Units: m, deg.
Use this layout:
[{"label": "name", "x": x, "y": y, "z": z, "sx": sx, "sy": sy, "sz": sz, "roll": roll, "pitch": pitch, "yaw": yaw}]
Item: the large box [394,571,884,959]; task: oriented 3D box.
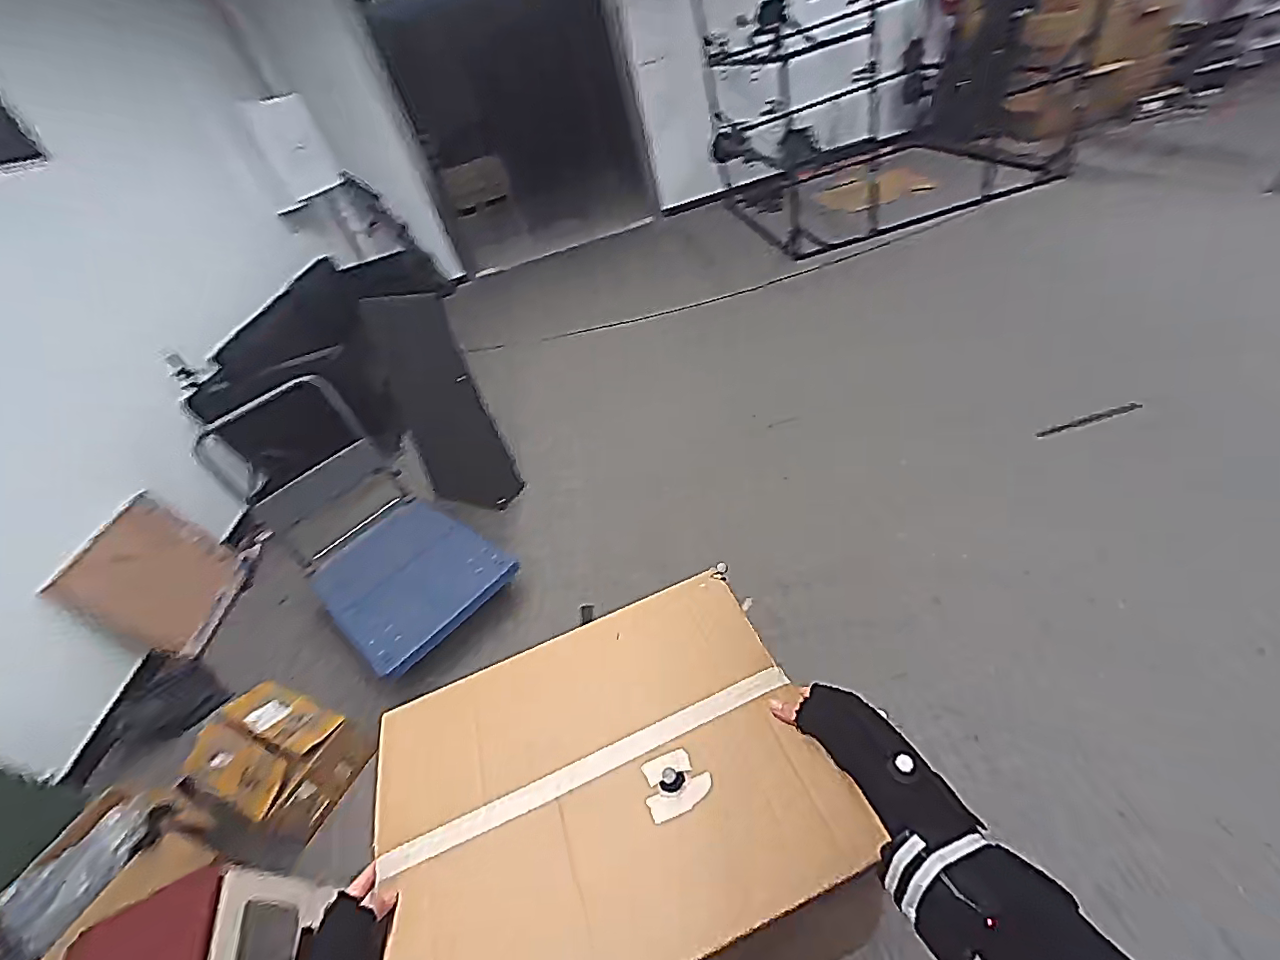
[{"label": "large box", "x": -0.004, "y": 0.377, "z": 0.602, "sx": 0.408, "sy": 0.320, "sz": 0.320, "roll": -21, "pitch": 39, "yaw": -6}]
